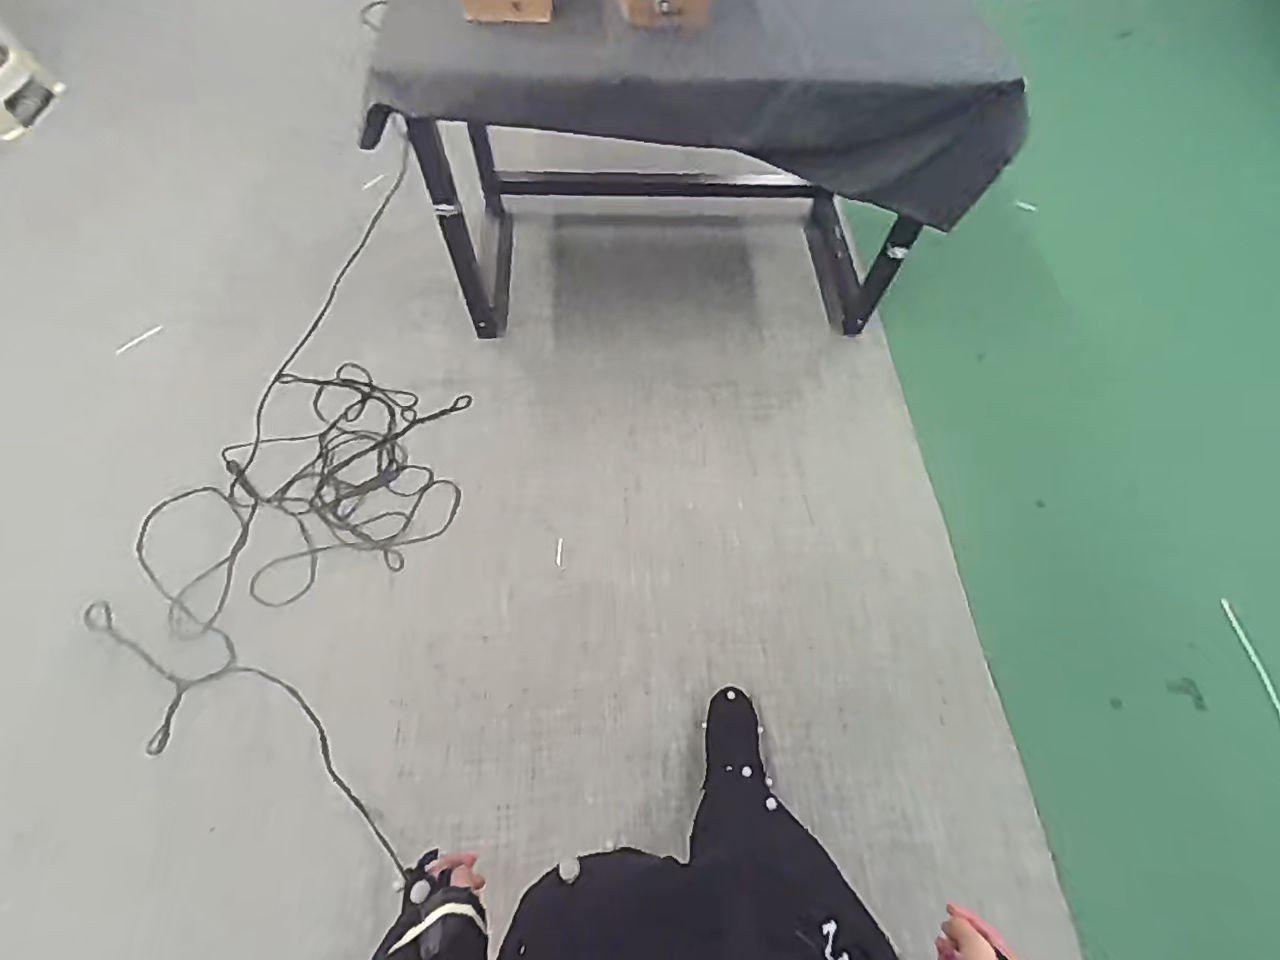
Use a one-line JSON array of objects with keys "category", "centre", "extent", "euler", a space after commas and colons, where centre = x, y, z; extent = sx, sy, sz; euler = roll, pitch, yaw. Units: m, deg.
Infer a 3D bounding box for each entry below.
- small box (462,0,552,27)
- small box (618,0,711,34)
[{"category": "small box", "centre": [-0.255, -0.984, 1.008], "extent": [0.168, 0.176, 0.179], "euler": [-3, 63, -4]}, {"category": "small box", "centre": [0.044, -0.990, 1.028], "extent": [0.168, 0.176, 0.179], "euler": [-8, 65, -6]}]
